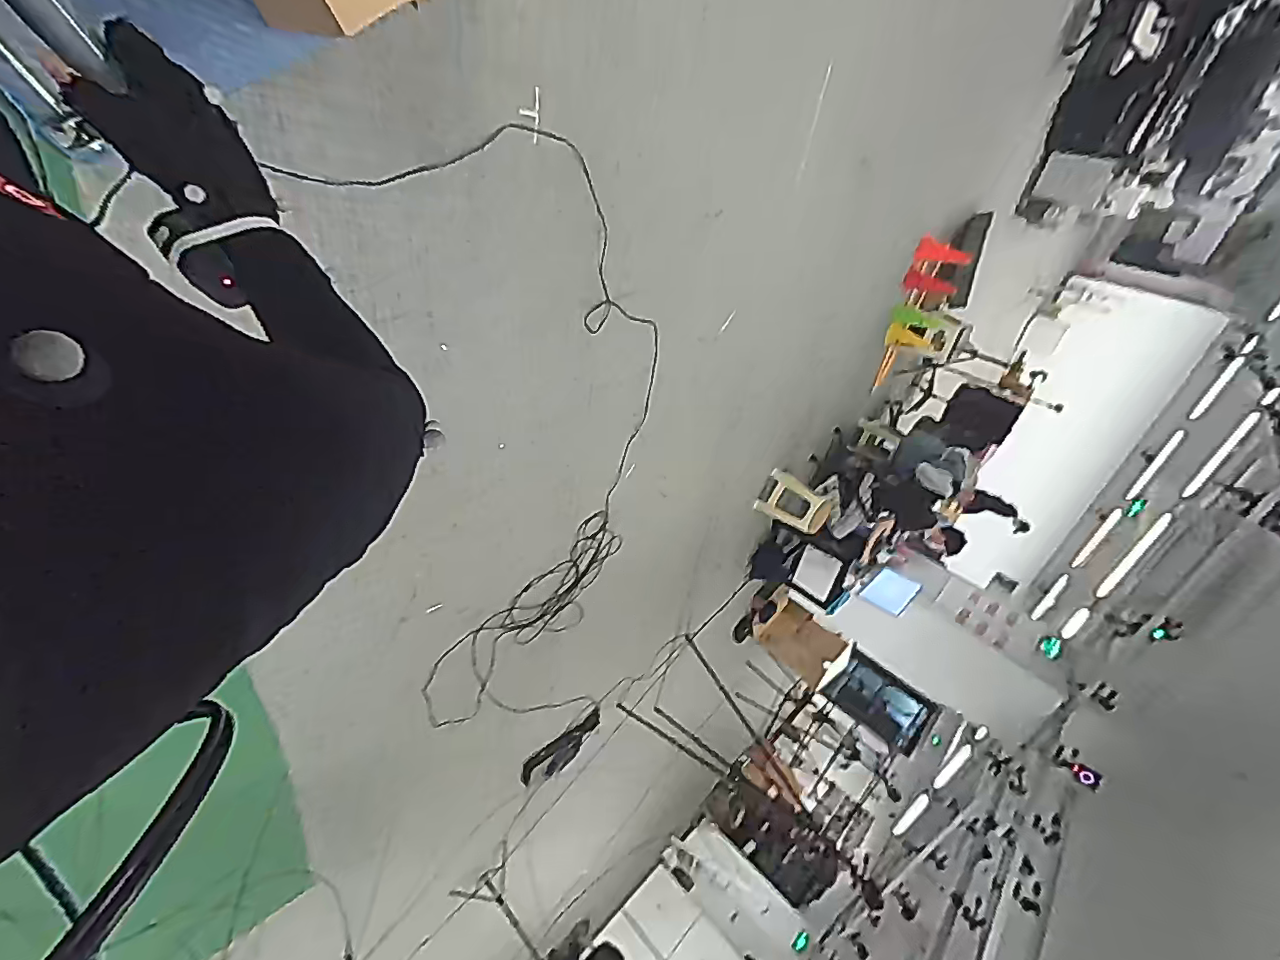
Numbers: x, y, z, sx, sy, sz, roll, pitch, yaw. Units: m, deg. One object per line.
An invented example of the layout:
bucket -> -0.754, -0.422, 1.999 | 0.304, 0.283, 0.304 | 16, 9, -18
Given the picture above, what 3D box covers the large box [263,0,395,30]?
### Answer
large box -> -0.470, -0.916, 0.721 | 0.320, 0.320, 0.408 | -48, 146, -15
